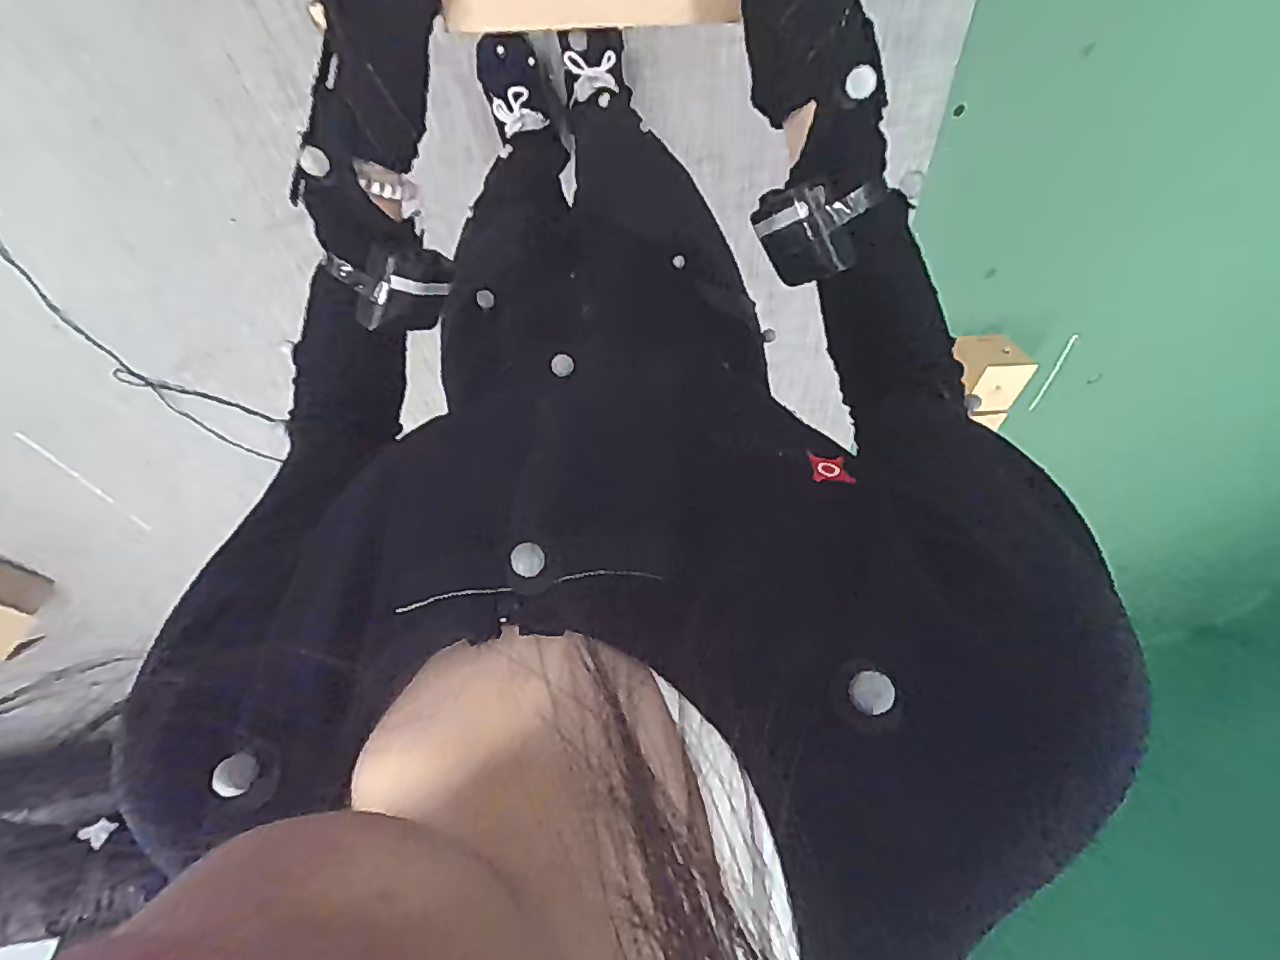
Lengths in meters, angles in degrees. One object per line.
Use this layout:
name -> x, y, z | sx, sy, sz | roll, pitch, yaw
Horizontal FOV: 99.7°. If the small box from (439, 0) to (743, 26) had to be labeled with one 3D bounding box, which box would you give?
small box -> -0.035, -0.379, 0.311 | 0.179, 0.176, 0.168 | -6, 138, -4
